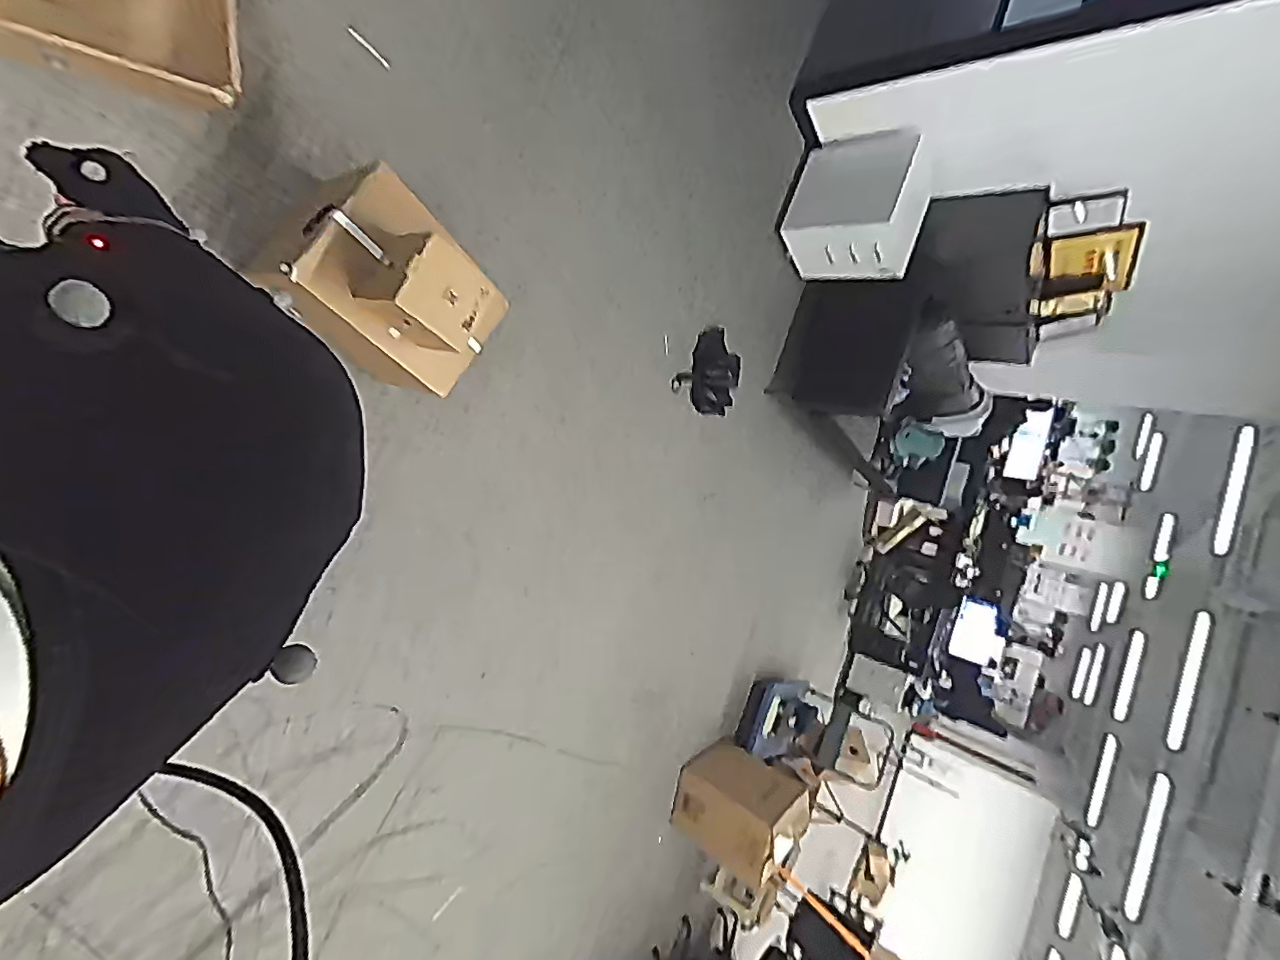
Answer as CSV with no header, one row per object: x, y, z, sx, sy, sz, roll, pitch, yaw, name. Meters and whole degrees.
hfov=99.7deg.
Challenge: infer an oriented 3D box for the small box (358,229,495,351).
-0.446,-0.389,1.128,0.179,0.176,0.168,38,74,-50,small box
